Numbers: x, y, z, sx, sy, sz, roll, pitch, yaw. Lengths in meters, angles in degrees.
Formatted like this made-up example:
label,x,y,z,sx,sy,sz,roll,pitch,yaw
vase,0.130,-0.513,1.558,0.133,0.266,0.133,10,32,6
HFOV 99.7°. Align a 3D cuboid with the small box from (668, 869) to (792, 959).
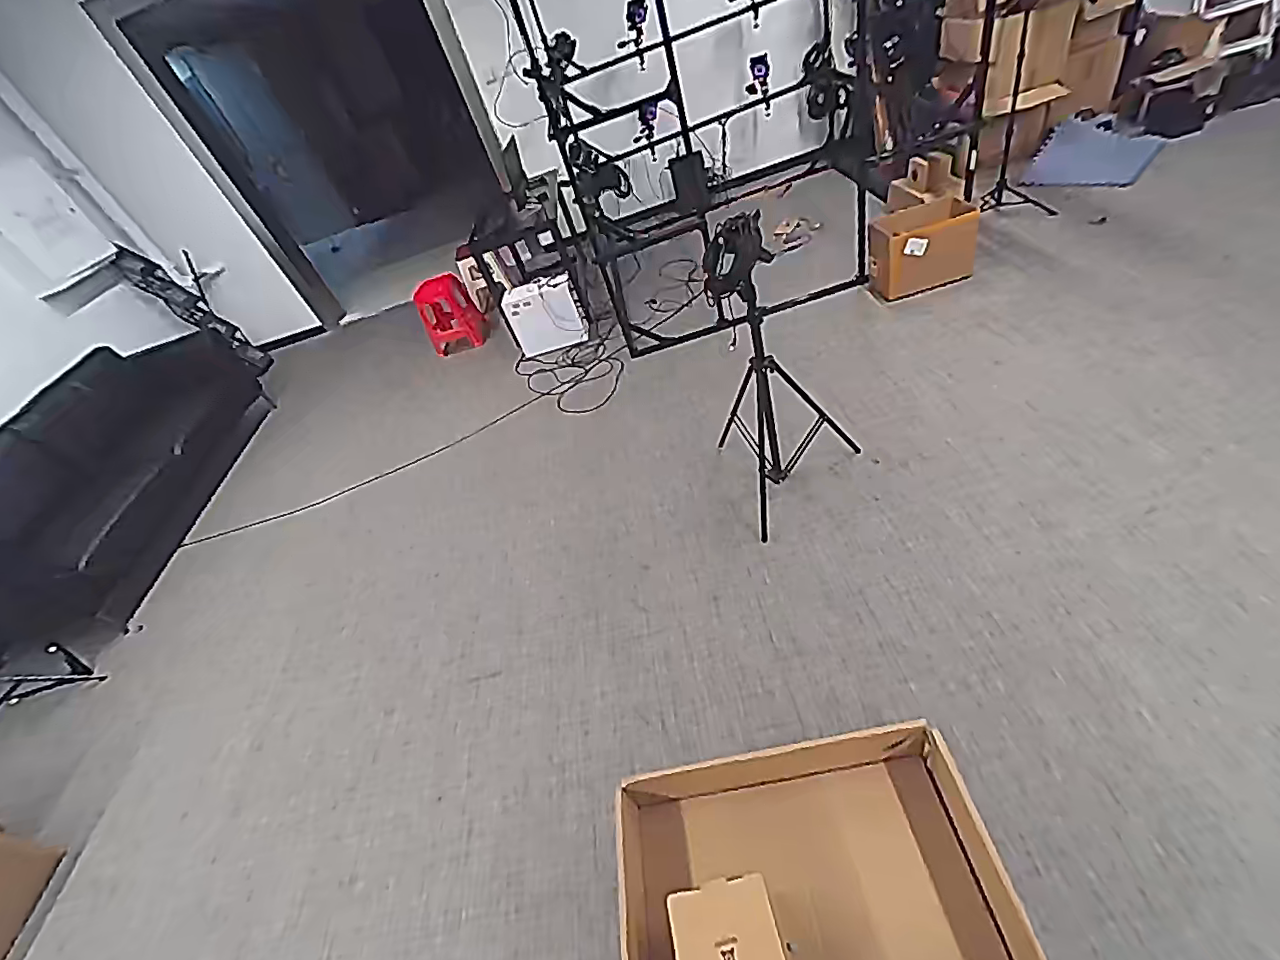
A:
label,x,y,z,sx,sy,sz,roll,pitch,yaw
small box,0.156,0.775,0.881,0.168,0.176,0.179,-18,41,4
